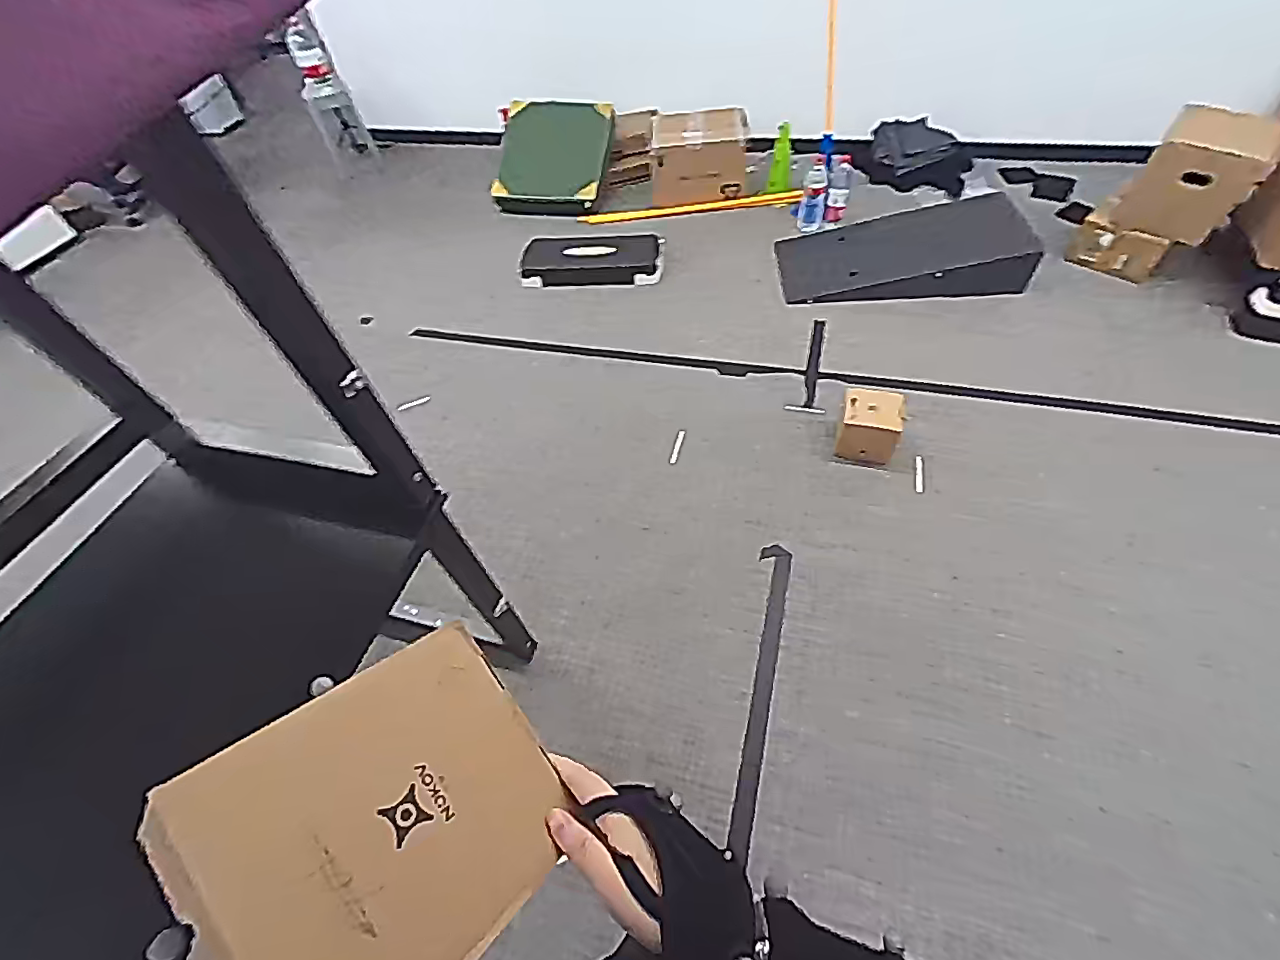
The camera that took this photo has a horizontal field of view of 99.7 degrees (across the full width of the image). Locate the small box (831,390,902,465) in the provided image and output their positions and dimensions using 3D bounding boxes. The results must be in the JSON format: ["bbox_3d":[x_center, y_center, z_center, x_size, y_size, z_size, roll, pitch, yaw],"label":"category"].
[{"bbox_3d":[0.749,-0.170,1.793,0.179,0.176,0.168,12,55,13],"label":"small box"}]
